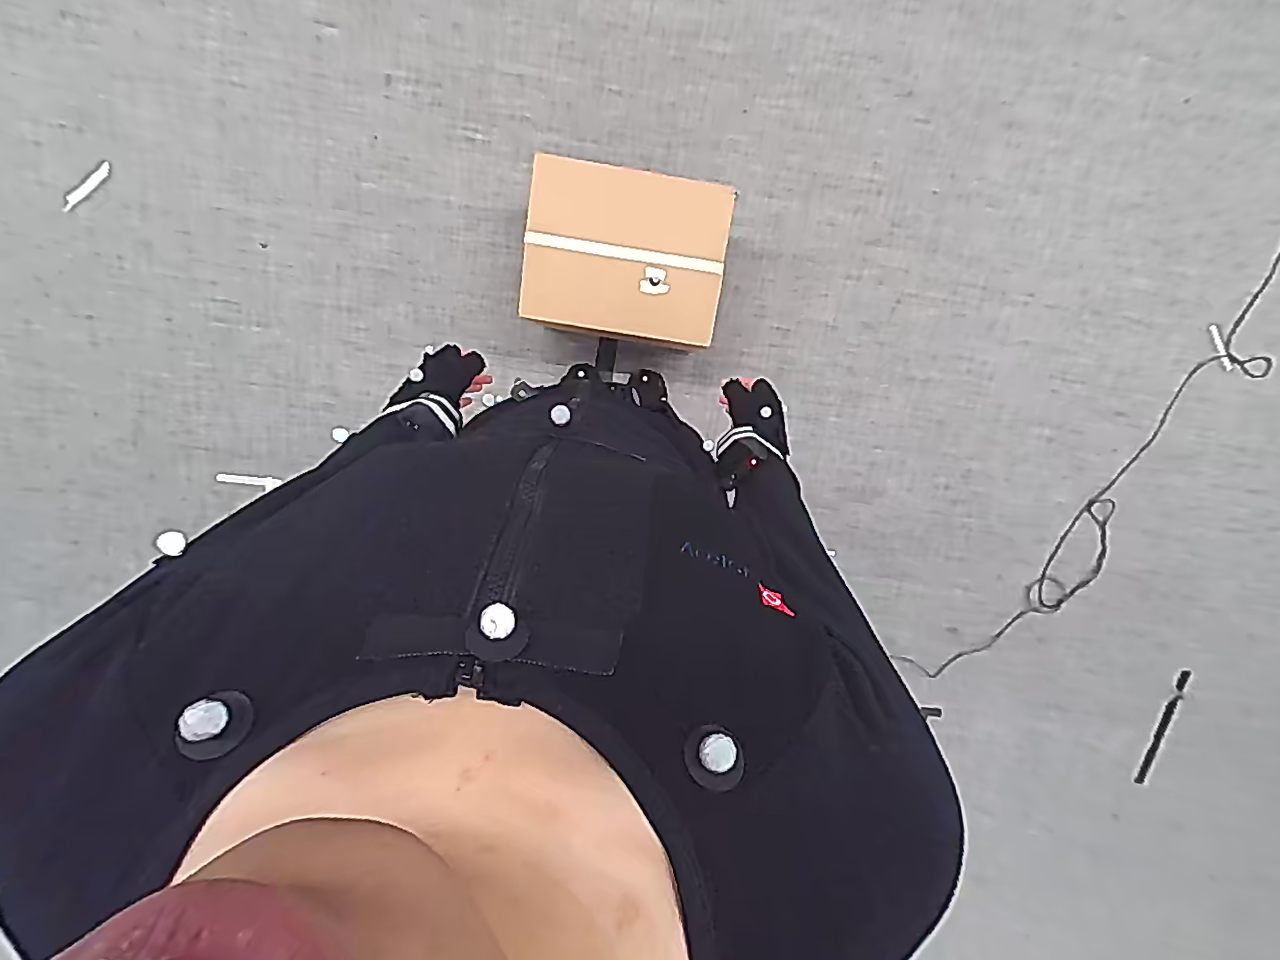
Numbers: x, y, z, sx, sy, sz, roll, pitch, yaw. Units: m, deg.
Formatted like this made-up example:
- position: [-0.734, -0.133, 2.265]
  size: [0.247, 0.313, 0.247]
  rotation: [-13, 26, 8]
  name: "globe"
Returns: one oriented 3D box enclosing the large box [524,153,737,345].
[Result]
- position: [-0.030, -0.494, 1.233]
  size: [0.408, 0.320, 0.320]
  rotation: [8, 102, -4]
  name: "large box"
